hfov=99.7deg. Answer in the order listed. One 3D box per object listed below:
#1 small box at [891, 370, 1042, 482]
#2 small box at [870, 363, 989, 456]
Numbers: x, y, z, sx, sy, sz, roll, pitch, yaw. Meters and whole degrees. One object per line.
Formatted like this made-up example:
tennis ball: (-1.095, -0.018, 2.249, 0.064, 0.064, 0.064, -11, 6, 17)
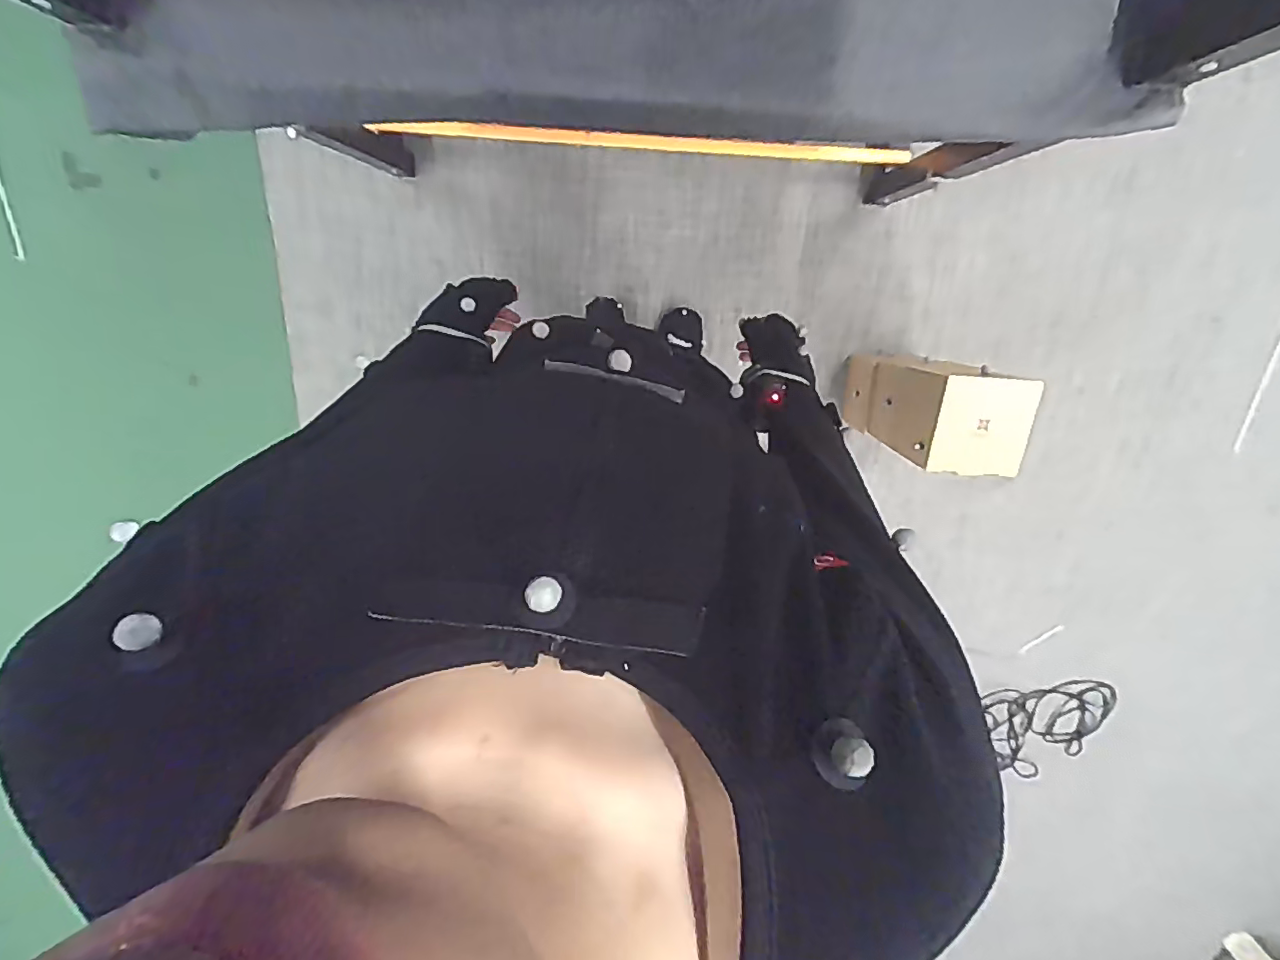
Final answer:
small box: (0.599, -0.109, 1.019, 0.168, 0.176, 0.179, 4, 109, 1)
small box: (0.618, -0.154, 1.175, 0.168, 0.176, 0.179, 1, 108, 2)
